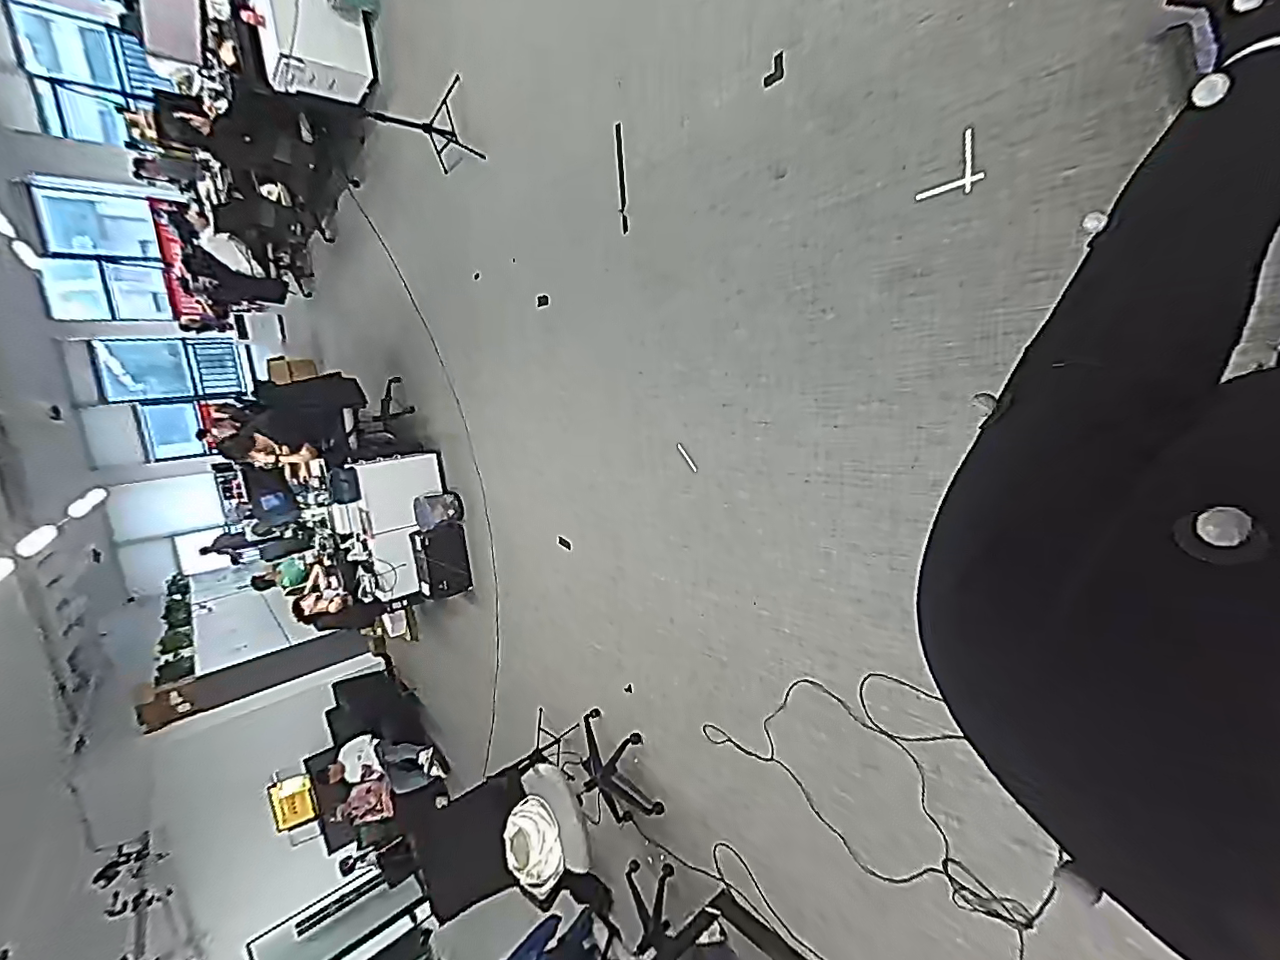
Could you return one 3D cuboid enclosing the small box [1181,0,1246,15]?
[{"bbox_3d":[0.865,-0.776,0.726,0.179,0.176,0.168,20,115,44],"label":"small box"}]
